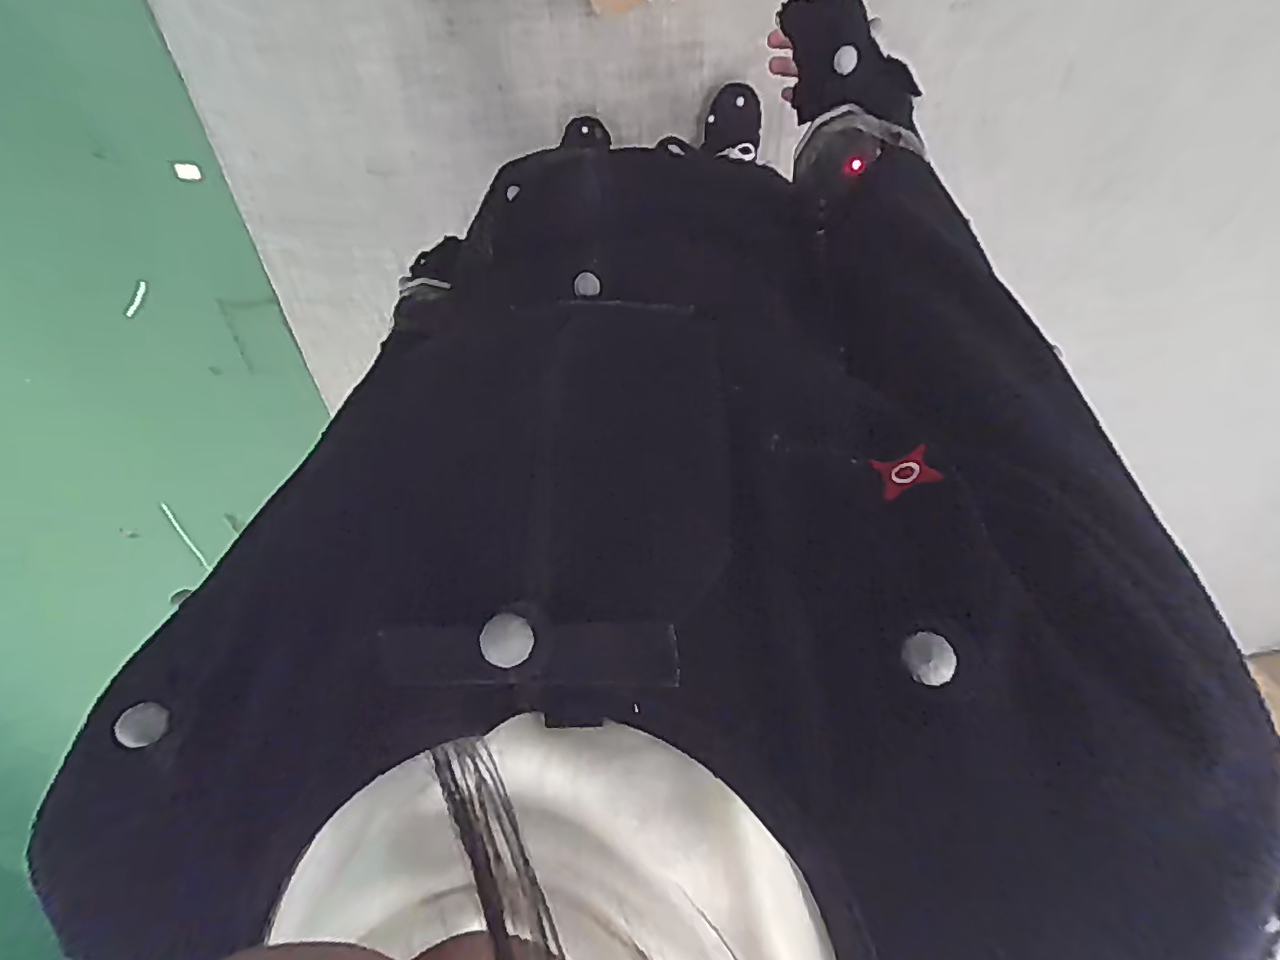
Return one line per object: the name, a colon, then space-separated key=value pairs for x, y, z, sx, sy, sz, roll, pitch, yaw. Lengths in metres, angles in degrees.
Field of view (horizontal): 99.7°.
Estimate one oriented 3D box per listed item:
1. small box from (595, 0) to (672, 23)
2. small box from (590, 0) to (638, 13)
small box: x=-0.008 y=-0.886 z=0.889 sx=0.179 sy=0.176 sz=0.168 roll=-12 pitch=125 yaw=11
small box: x=-0.009 y=-0.792 z=0.757 sx=0.179 sy=0.176 sz=0.168 roll=-14 pitch=126 yaw=12
